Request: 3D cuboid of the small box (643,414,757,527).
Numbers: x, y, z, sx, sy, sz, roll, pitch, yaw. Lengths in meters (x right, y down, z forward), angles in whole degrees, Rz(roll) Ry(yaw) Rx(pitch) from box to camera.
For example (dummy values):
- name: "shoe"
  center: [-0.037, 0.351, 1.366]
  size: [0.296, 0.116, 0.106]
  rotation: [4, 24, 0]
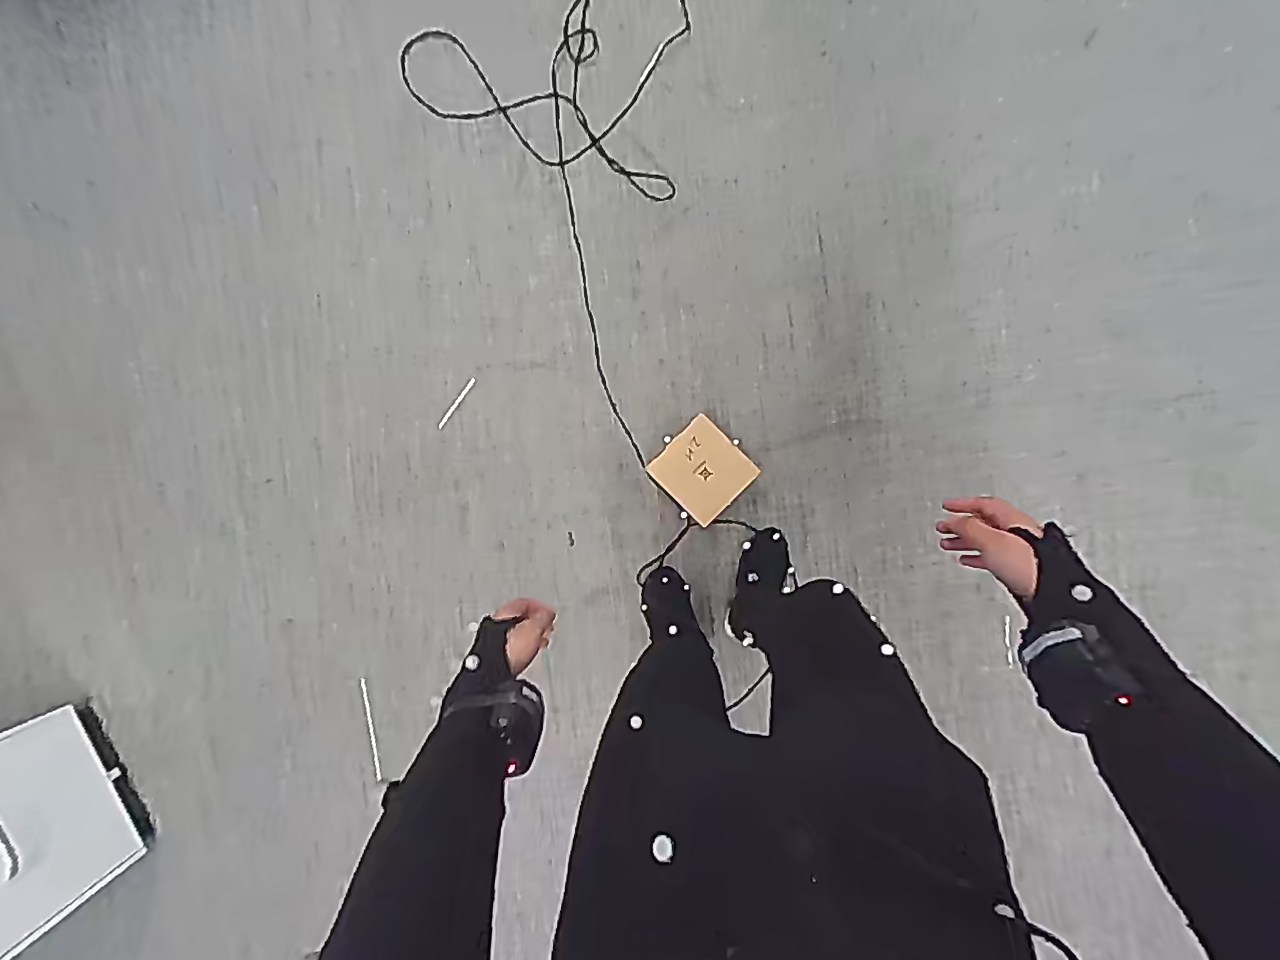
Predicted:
- name: "small box"
  center: [0.125, -0.025, 1.175]
  size: [0.179, 0.176, 0.168]
  rotation: [45, 92, 0]
